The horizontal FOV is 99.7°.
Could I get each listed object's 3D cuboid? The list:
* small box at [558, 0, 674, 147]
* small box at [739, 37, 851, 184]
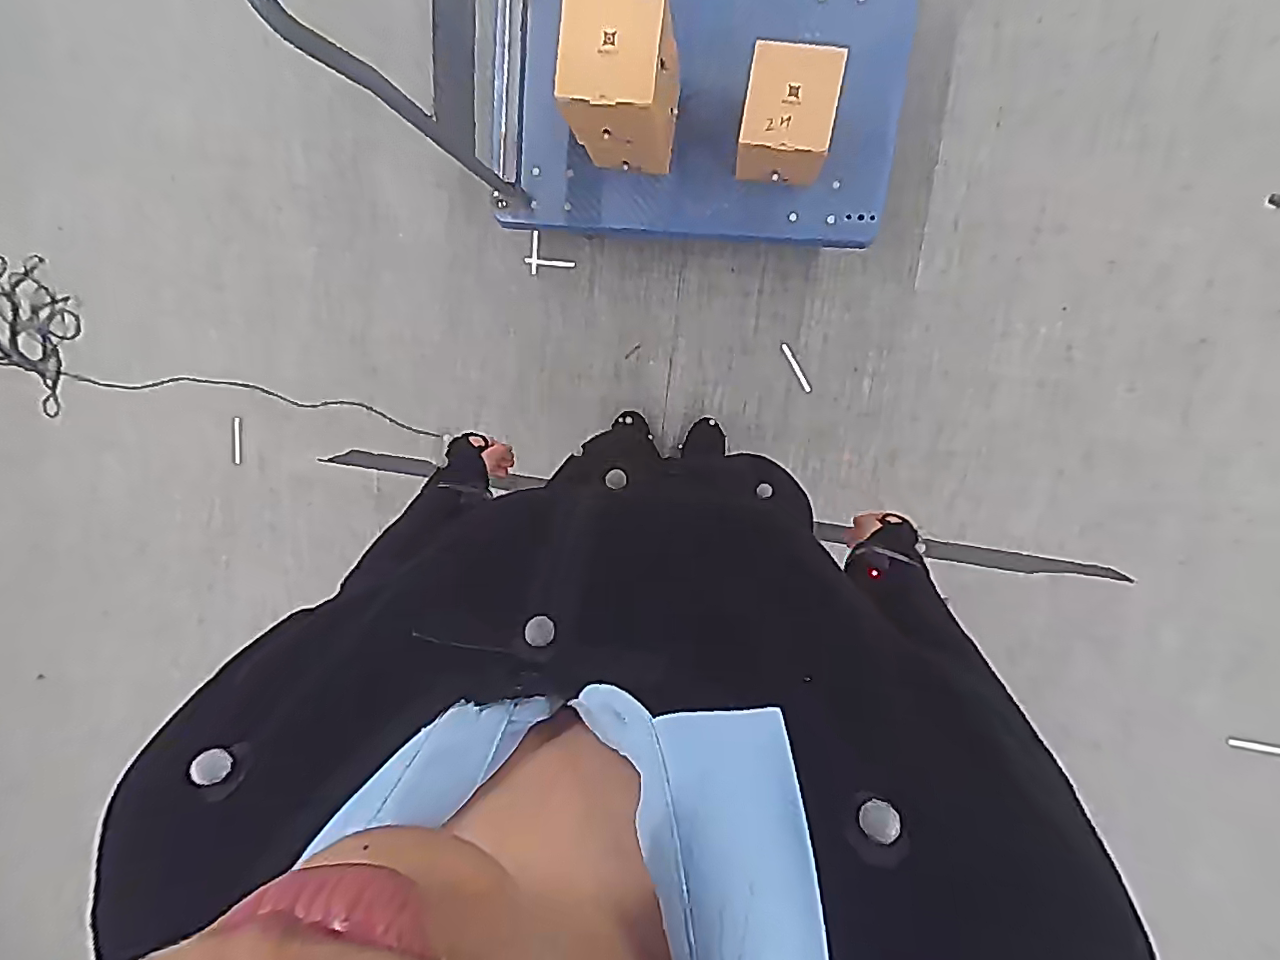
[{"bbox_3d":[-0.034,-0.711,0.932,0.168,0.176,0.179,8,101,6],"label":"small box"},{"bbox_3d":[0.291,-0.711,1.057,0.168,0.176,0.179,10,100,6],"label":"small box"}]
